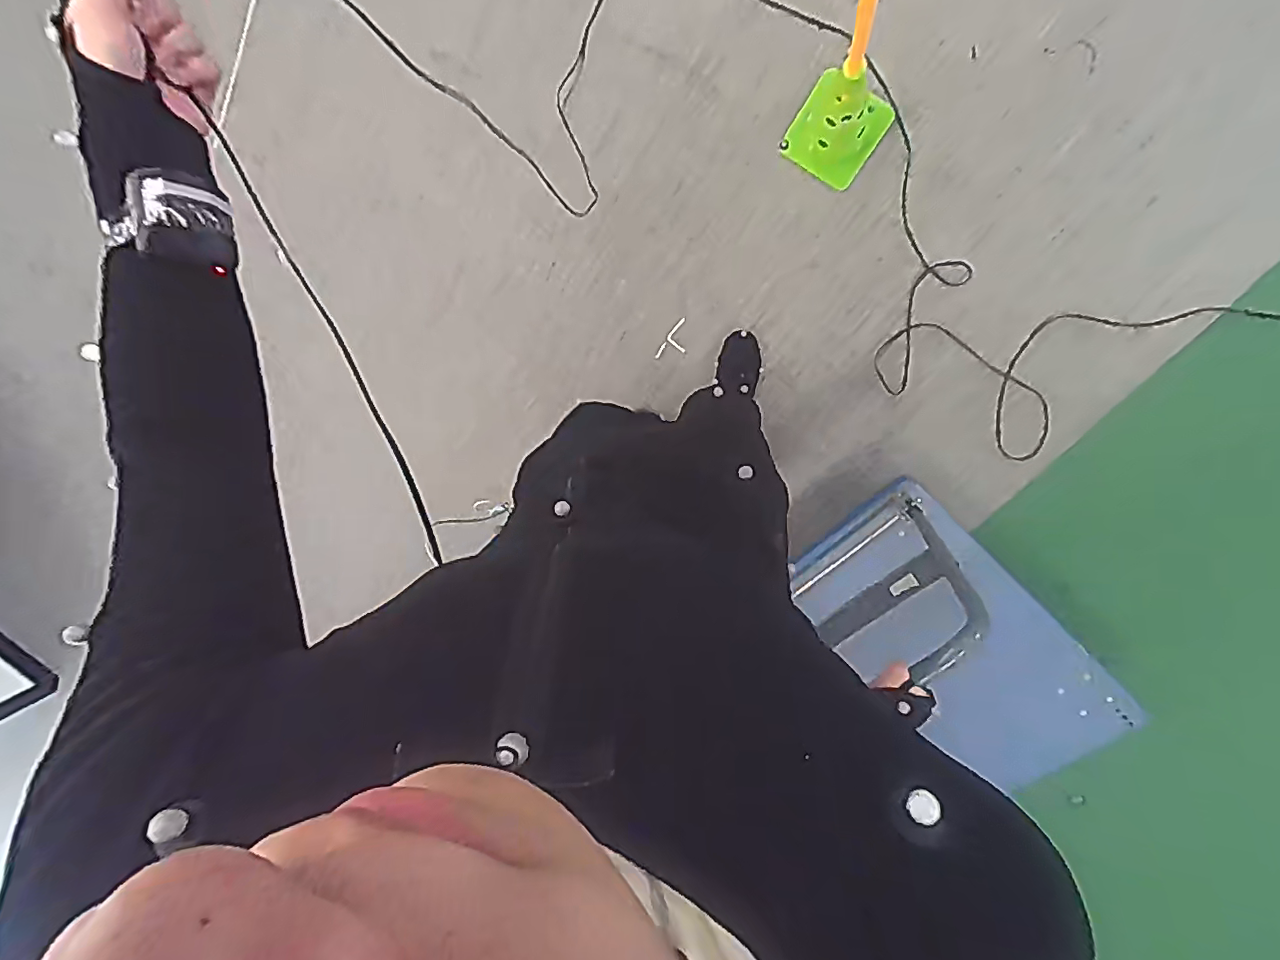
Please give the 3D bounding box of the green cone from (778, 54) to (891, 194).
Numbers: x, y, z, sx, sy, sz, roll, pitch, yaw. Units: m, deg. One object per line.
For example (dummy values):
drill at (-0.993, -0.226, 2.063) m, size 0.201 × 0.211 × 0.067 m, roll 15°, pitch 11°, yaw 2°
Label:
green cone at (0.422, -0.774, 1.125) m, size 0.200 × 0.368 × 0.202 m, roll 34°, pitch 110°, yaw 2°
